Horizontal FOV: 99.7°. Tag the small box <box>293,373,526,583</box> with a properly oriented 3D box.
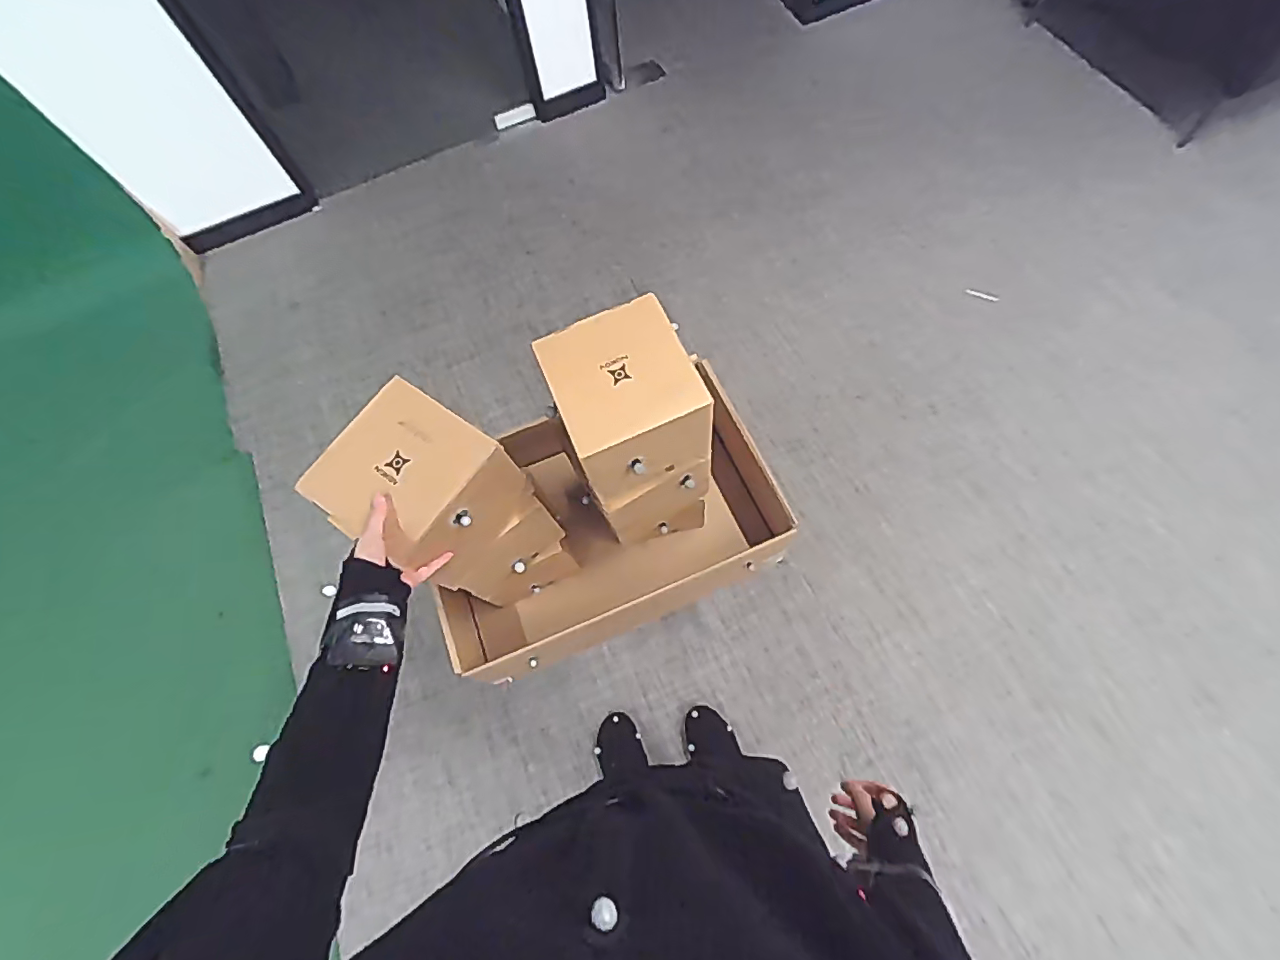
[{"bbox_3d":[-0.269,0.008,0.677,0.168,0.176,0.179,34,76,14],"label":"small box"}]

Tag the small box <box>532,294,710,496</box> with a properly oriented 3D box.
[{"bbox_3d":[-0.018,-0.096,0.700,0.168,0.176,0.179,-23,67,-4],"label":"small box"}]

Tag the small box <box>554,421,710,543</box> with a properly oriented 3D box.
[{"bbox_3d":[-0.008,-0.027,0.847,0.179,0.176,0.168,-31,68,-6],"label":"small box"}]

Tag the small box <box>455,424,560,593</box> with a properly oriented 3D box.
[{"bbox_3d":[-0.249,0.052,0.834,0.168,0.176,0.179,-39,71,-10],"label":"small box"}]
